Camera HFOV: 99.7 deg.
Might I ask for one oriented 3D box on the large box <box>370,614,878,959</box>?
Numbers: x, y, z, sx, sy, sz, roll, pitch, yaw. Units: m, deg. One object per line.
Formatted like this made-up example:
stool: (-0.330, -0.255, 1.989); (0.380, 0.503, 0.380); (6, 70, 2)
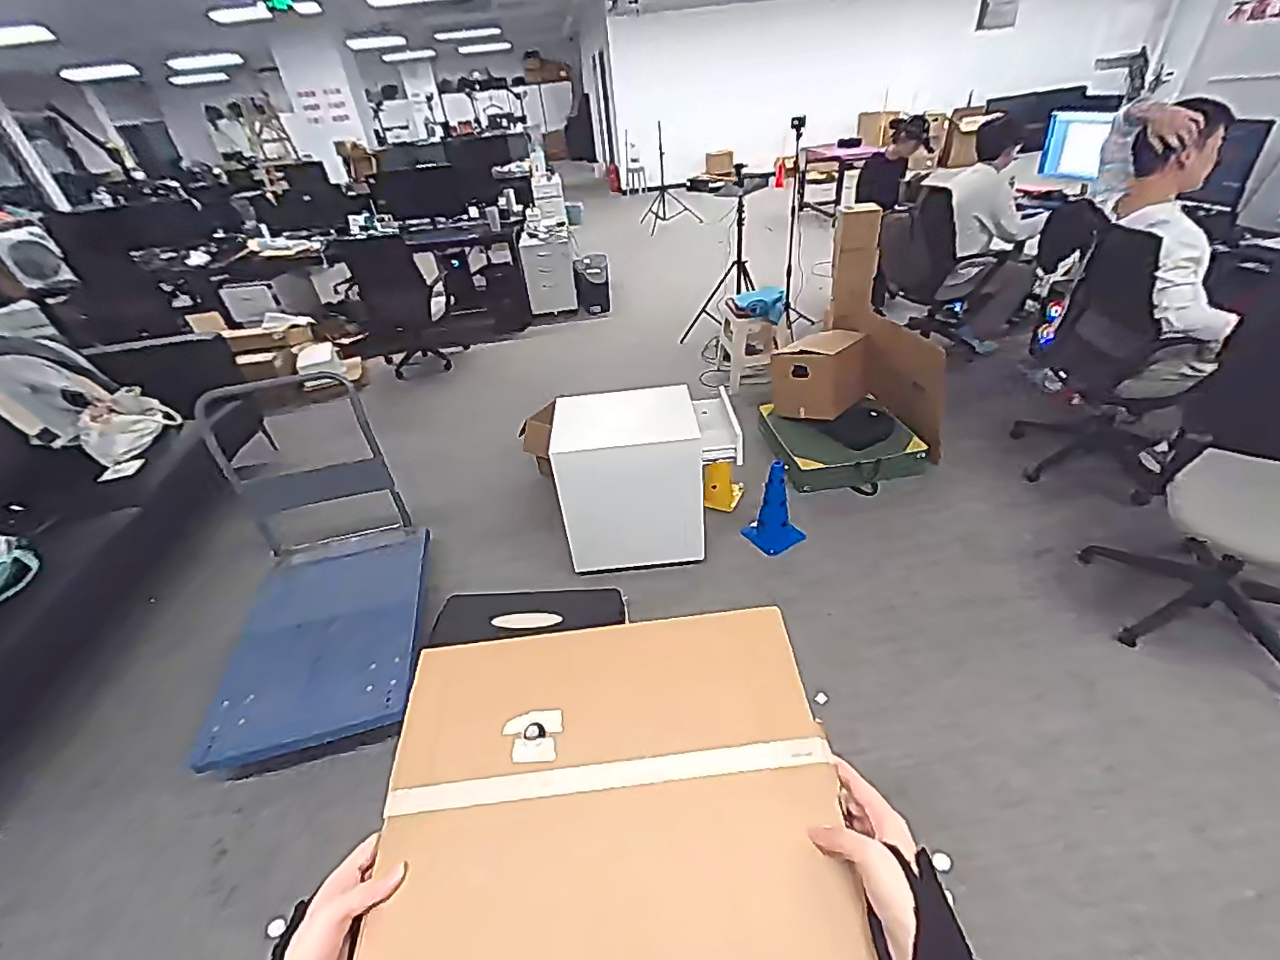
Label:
large box: (-0.011, 0.391, 0.609); (0.408, 0.320, 0.320); (-9, 44, 2)
